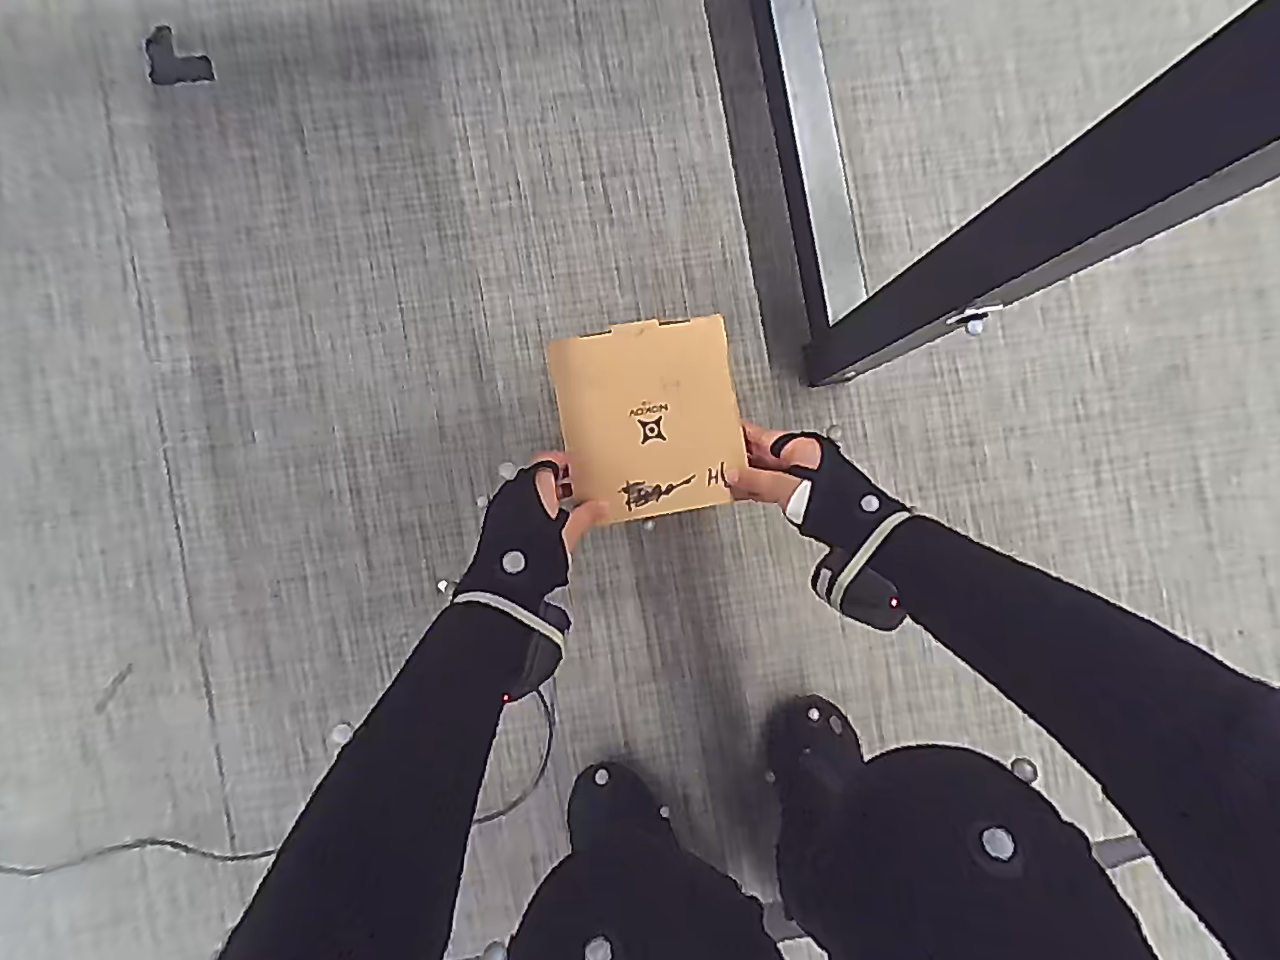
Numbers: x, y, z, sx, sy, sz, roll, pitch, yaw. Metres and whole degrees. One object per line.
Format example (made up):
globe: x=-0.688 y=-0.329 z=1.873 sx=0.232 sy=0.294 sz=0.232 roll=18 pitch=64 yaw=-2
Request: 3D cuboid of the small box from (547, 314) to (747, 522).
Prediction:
small box: x=0.001 y=-0.055 z=0.577 sx=0.168 sy=0.176 sz=0.179 roll=-10 pitch=89 yaw=-3
